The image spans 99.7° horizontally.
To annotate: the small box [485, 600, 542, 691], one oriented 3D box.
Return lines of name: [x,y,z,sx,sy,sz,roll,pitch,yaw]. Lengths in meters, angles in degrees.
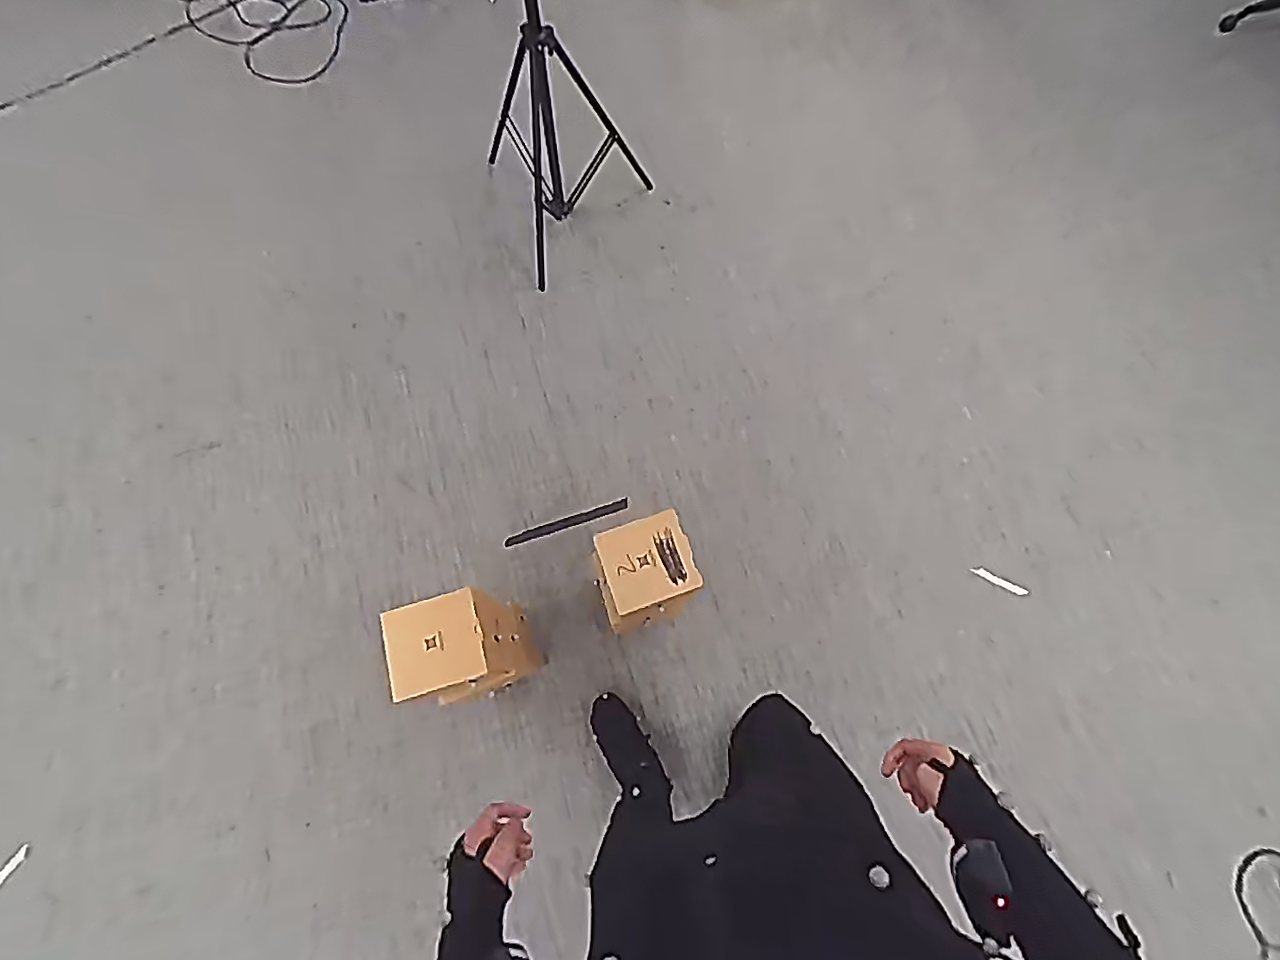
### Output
small box: [-0.363,0.427,1.379,0.168,0.176,0.179,-23,73,-9]

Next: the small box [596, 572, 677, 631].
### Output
small box: [-0.009,0.294,1.432,0.179,0.176,0.168,-16,73,-7]

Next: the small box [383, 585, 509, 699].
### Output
small box: [-0.378,0.322,1.070,0.179,0.176,0.168,-16,72,-6]

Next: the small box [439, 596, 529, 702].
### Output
small box: [-0.365,0.381,1.222,0.168,0.176,0.179,-21,74,-7]

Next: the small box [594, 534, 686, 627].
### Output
small box: [-0.005,0.241,1.277,0.179,0.176,0.168,-14,72,-7]
